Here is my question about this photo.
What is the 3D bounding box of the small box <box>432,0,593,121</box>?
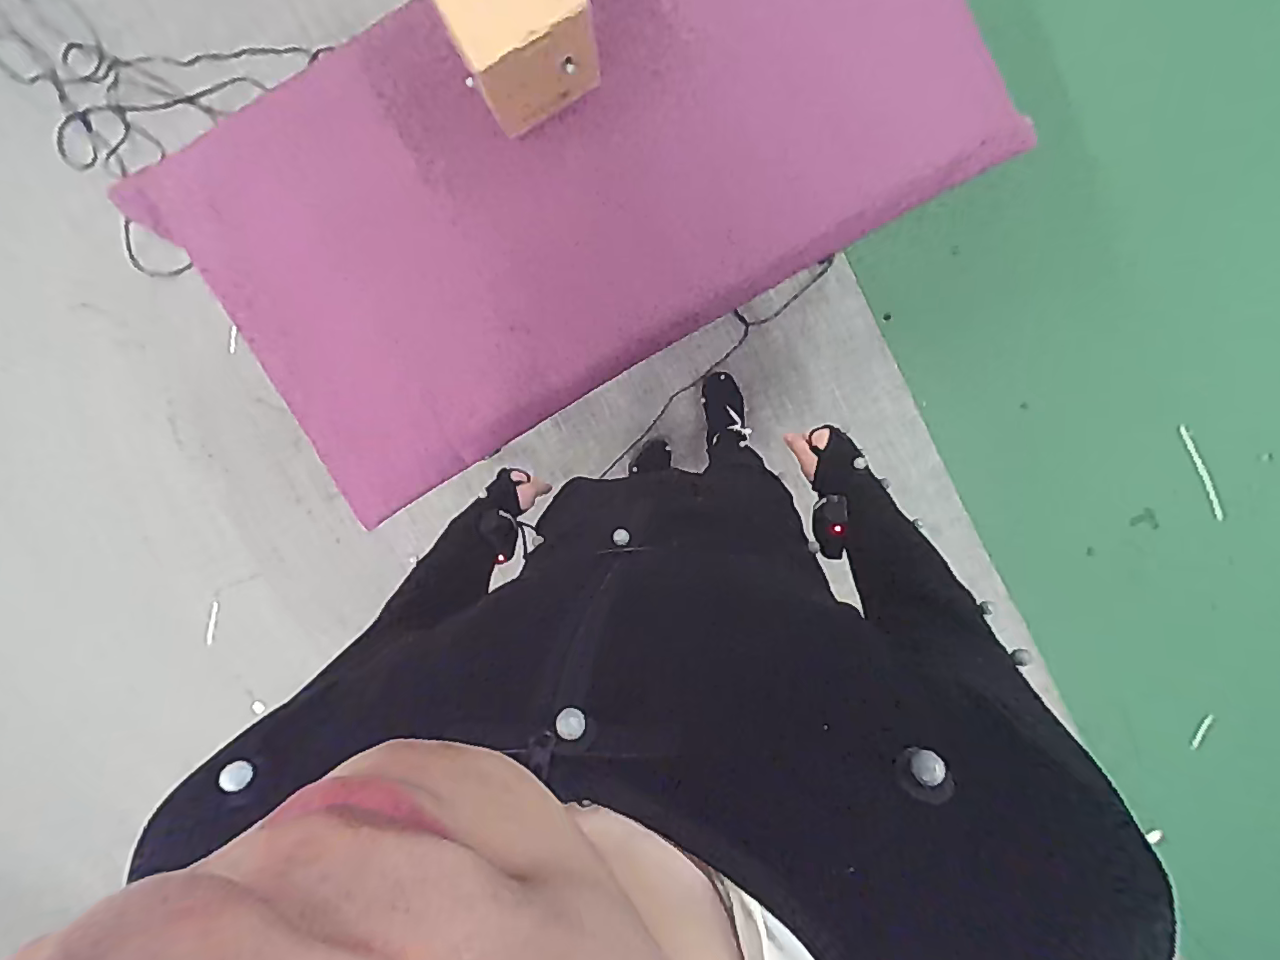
[{"bbox_3d":[-0.177,-0.633,0.733,0.168,0.176,0.179,-30,95,4],"label":"small box"}]
